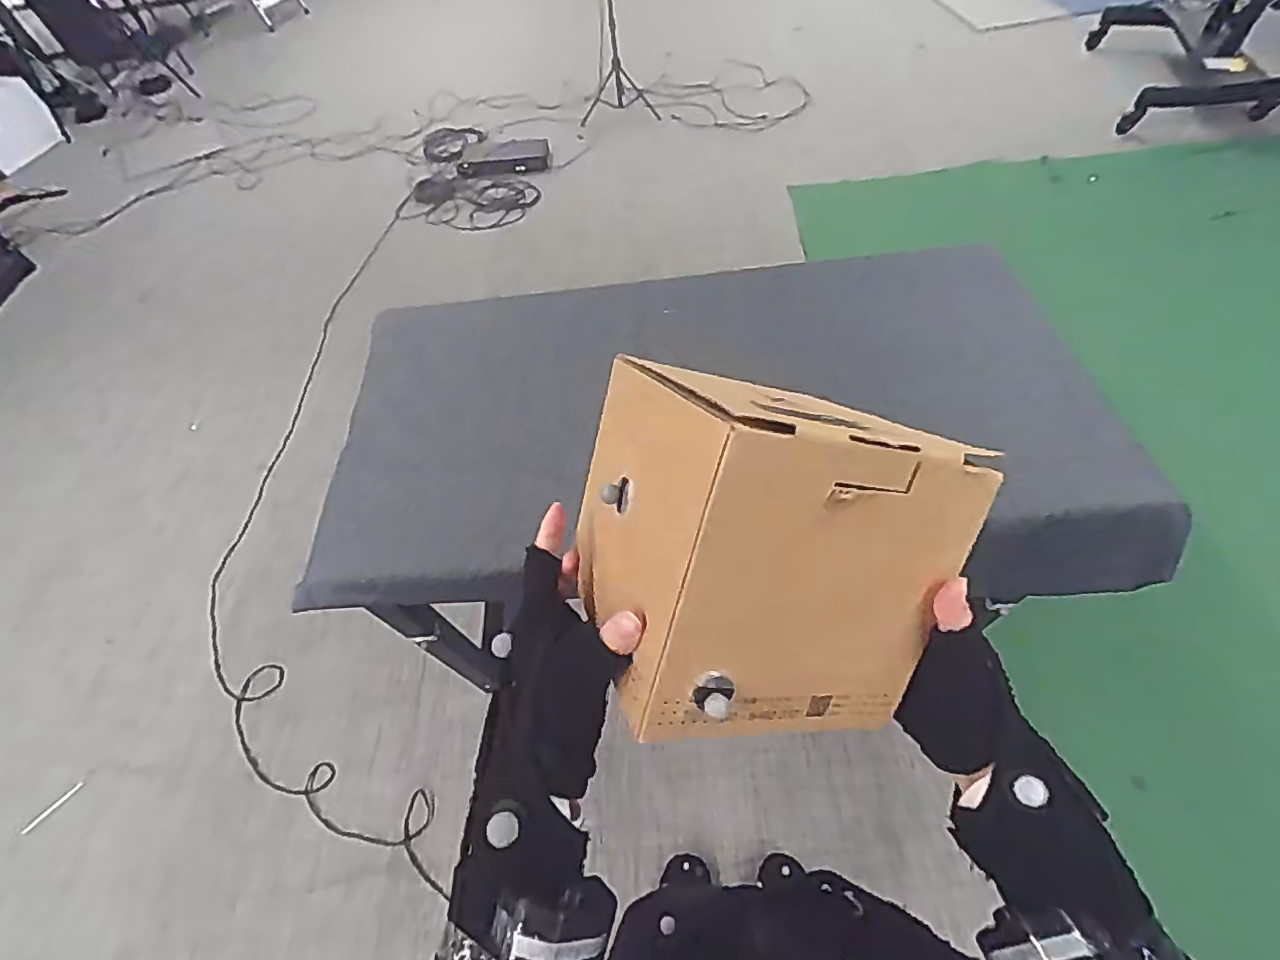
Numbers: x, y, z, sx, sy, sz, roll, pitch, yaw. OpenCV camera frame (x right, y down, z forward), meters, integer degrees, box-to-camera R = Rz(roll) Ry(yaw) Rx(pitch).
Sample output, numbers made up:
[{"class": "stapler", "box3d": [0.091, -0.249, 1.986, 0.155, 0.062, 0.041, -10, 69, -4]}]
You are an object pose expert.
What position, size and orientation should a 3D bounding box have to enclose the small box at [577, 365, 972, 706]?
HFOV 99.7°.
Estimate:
[{"class": "small box", "box3d": [0.066, 0.032, 0.364, 0.168, 0.176, 0.179, 7, 17, -22]}]
